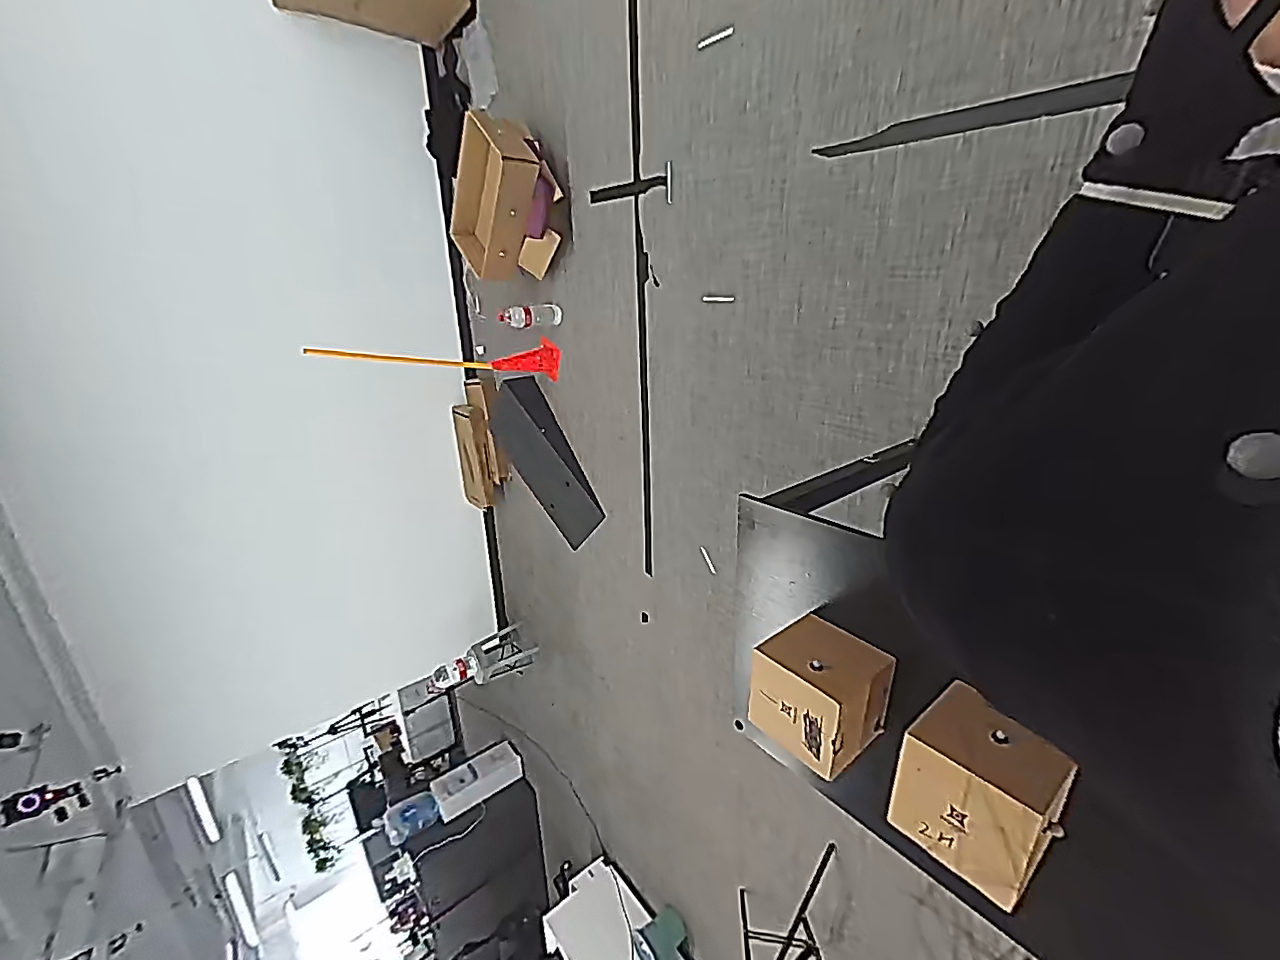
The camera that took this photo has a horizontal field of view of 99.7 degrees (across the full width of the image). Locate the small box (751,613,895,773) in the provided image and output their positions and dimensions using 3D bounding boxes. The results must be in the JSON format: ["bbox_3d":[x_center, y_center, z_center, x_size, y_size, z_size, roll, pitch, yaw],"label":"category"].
[{"bbox_3d":[0.324,0.363,0.962,0.179,0.176,0.168,25,122,47],"label":"small box"}]

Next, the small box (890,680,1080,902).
[{"bbox_3d":[0.487,0.420,0.766,0.168,0.176,0.179,24,122,47],"label":"small box"}]
